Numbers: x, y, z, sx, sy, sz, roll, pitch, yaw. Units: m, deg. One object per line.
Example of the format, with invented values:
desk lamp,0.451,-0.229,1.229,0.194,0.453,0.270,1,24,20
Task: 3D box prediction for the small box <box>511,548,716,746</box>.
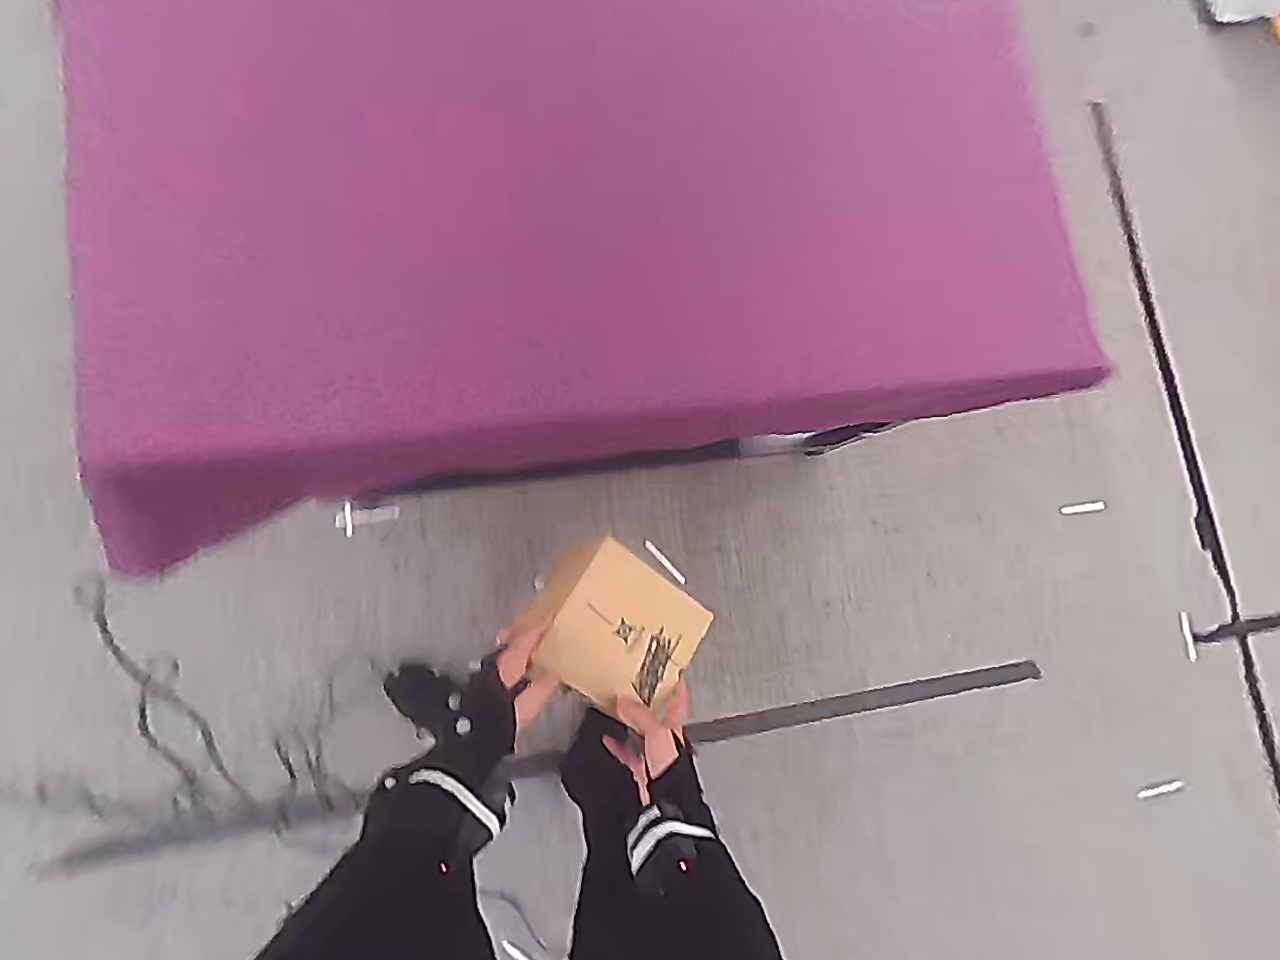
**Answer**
small box,-0.041,0.206,0.702,0.179,0.176,0.168,39,67,-12
